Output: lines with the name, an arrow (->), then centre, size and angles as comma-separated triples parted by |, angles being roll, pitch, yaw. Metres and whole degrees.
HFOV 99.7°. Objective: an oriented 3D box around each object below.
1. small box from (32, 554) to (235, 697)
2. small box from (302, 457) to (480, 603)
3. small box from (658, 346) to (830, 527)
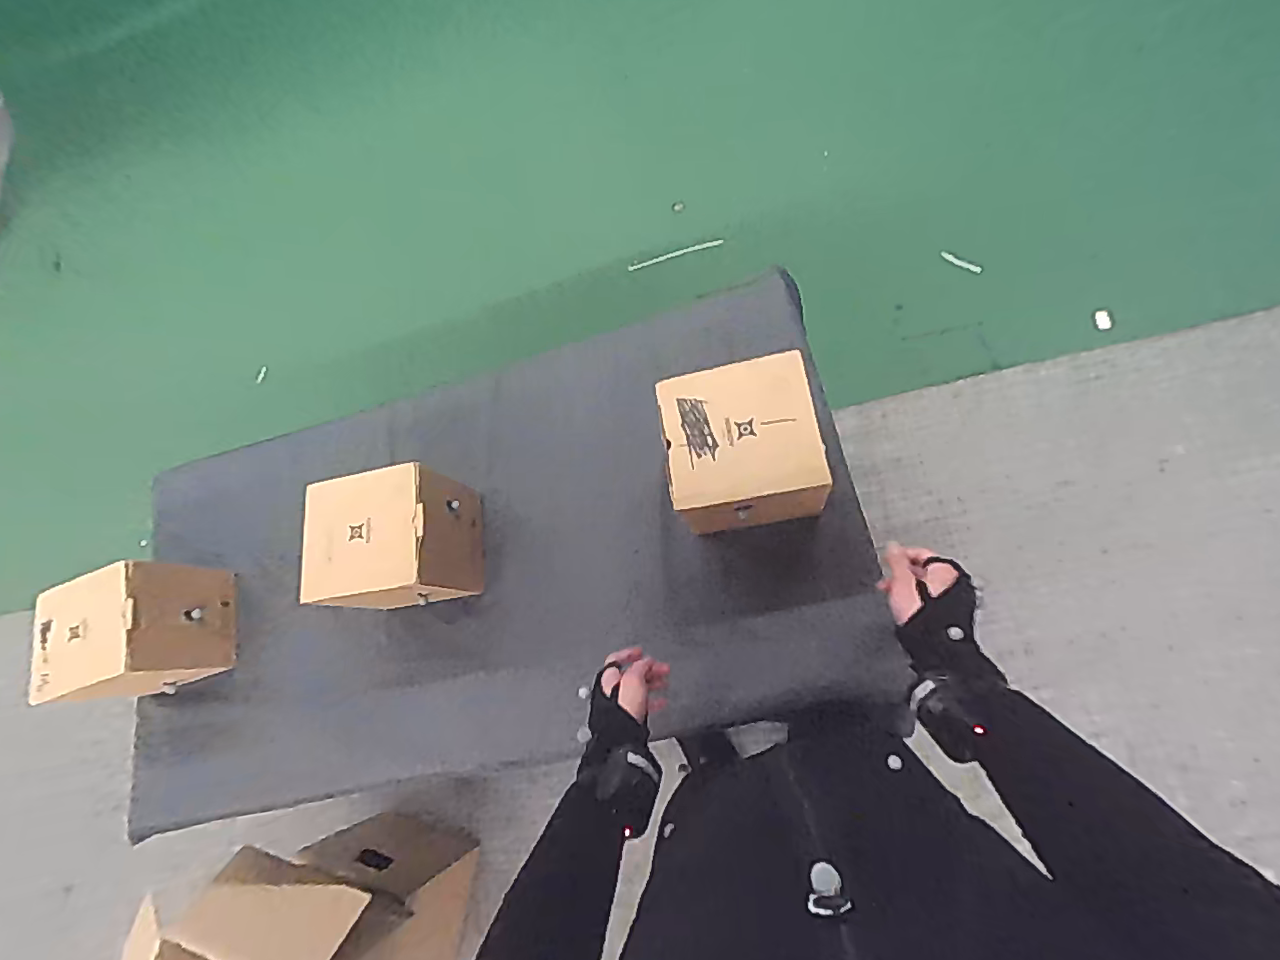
small box -> -0.779, 0.227, 0.851 | 0.179, 0.176, 0.168 | -19, 71, 8
small box -> -0.346, 0.082, 0.783 | 0.179, 0.176, 0.168 | -12, 71, 12
small box -> 0.131, -0.042, 0.690 | 0.179, 0.176, 0.168 | -10, 73, 11
